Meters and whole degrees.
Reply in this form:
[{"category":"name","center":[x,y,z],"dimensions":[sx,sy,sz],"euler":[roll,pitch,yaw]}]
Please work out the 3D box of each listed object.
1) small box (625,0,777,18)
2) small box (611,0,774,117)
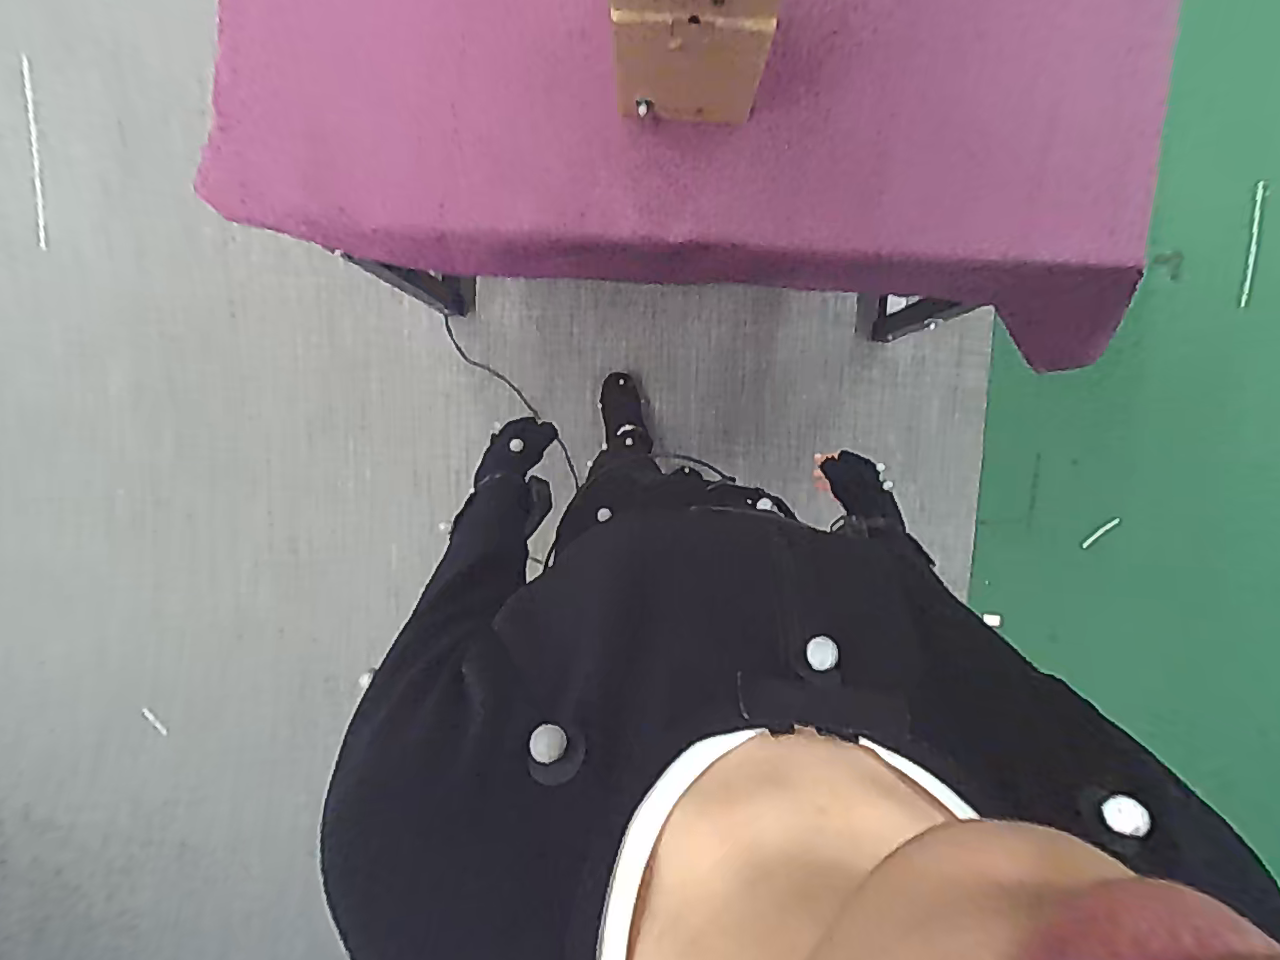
[{"category":"small box","center":[0.058,-0.543,0.449],"dimensions":[0.168,0.176,0.179],"euler":[4,95,1]},{"category":"small box","center":[0.061,-0.549,0.613],"dimensions":[0.168,0.176,0.179],"euler":[5,94,0]}]
